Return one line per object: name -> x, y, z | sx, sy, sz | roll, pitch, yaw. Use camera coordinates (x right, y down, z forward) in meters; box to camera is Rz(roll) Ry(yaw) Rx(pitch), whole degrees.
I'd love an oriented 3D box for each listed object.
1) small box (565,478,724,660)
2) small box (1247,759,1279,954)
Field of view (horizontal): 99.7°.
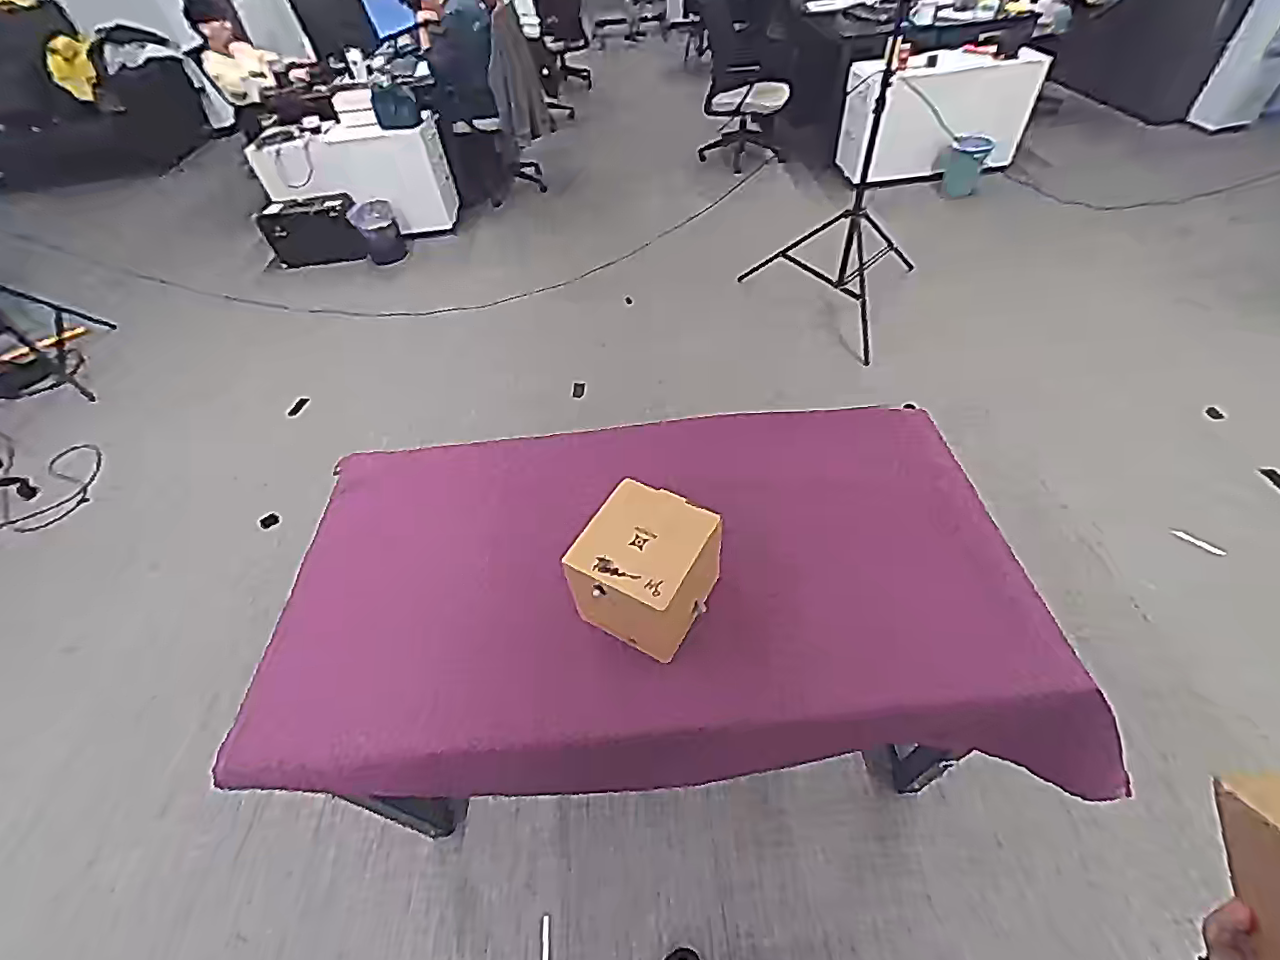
small box -> 0.012, 0.133, 0.813 | 0.168, 0.176, 0.179 | 21, 53, 23
small box -> 0.400, 0.230, 0.206 | 0.168, 0.176, 0.179 | -11, 2, 18
